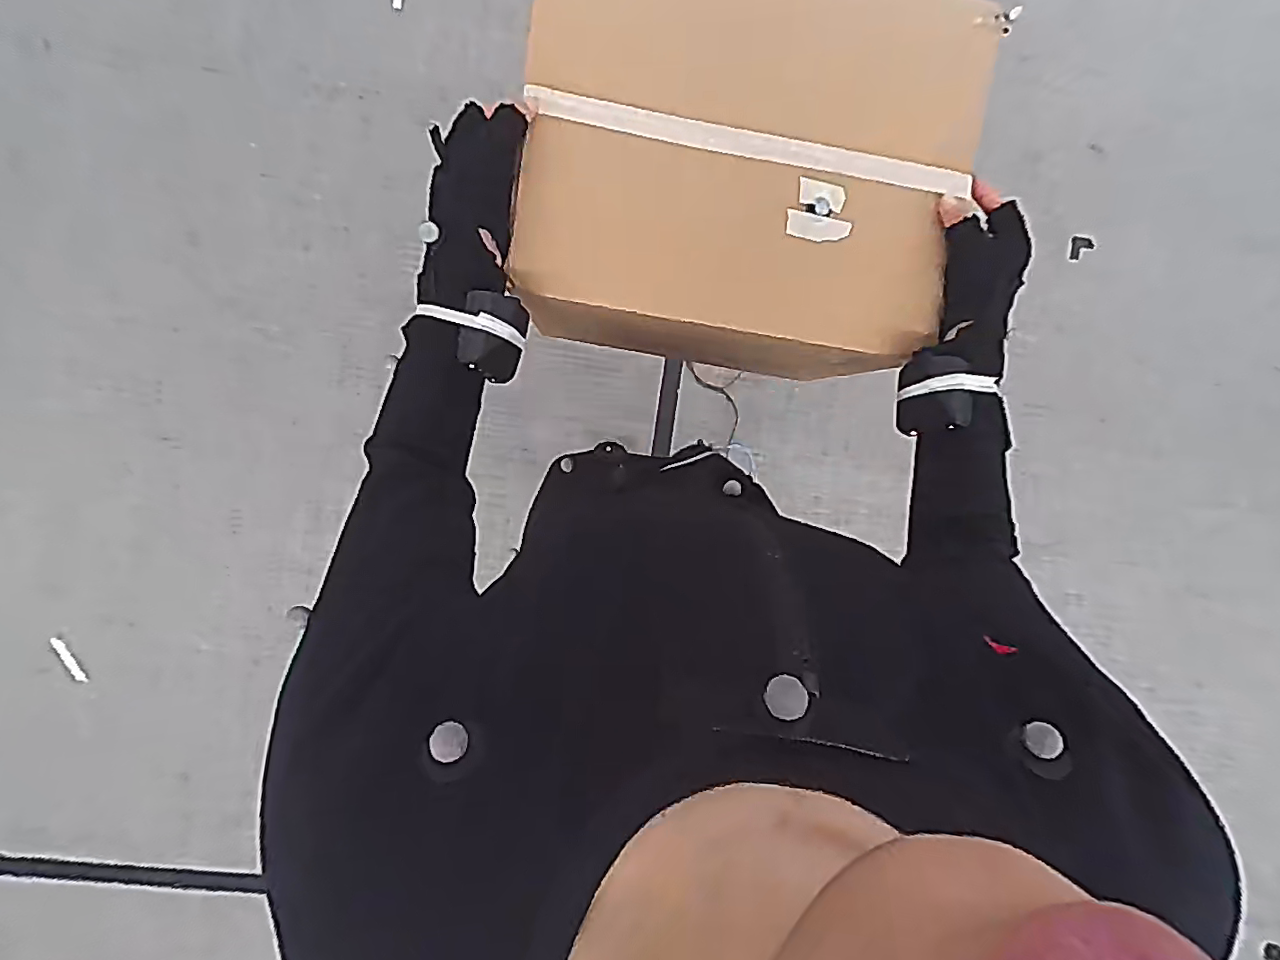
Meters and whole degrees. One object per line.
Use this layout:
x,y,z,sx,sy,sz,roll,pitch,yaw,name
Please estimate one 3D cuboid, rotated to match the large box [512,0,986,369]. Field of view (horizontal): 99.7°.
0.086,-0.323,0.637,0.408,0.320,0.320,9,98,-6,large box
